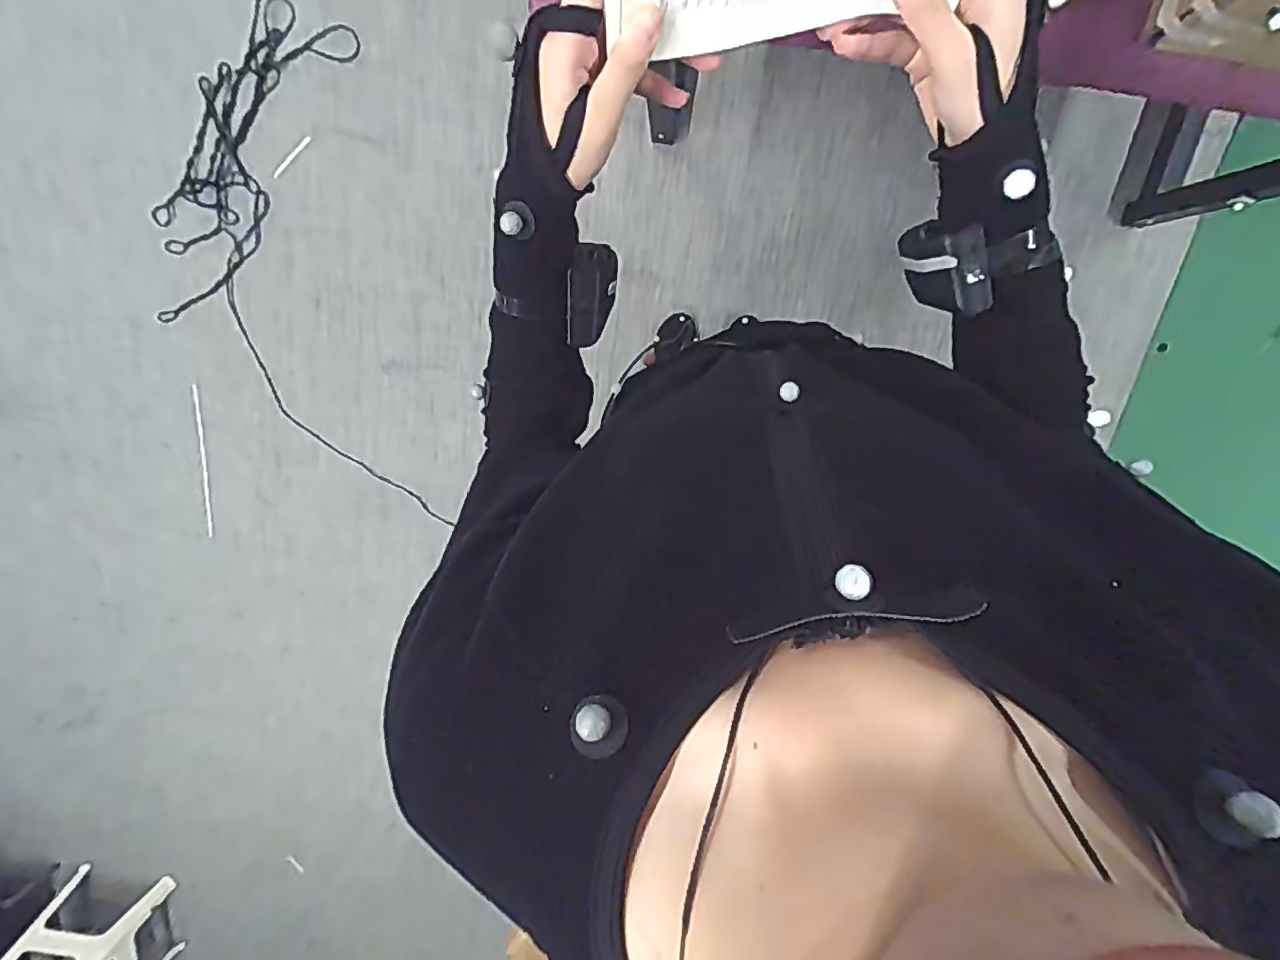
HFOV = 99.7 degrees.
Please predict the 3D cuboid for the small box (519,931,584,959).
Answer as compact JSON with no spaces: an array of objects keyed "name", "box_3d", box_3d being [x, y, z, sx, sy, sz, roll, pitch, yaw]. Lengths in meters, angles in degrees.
[{"name":"small box","box_3d":[-0.271,1.436,1.520,0.168,0.176,0.179,27,107,-3]}]
